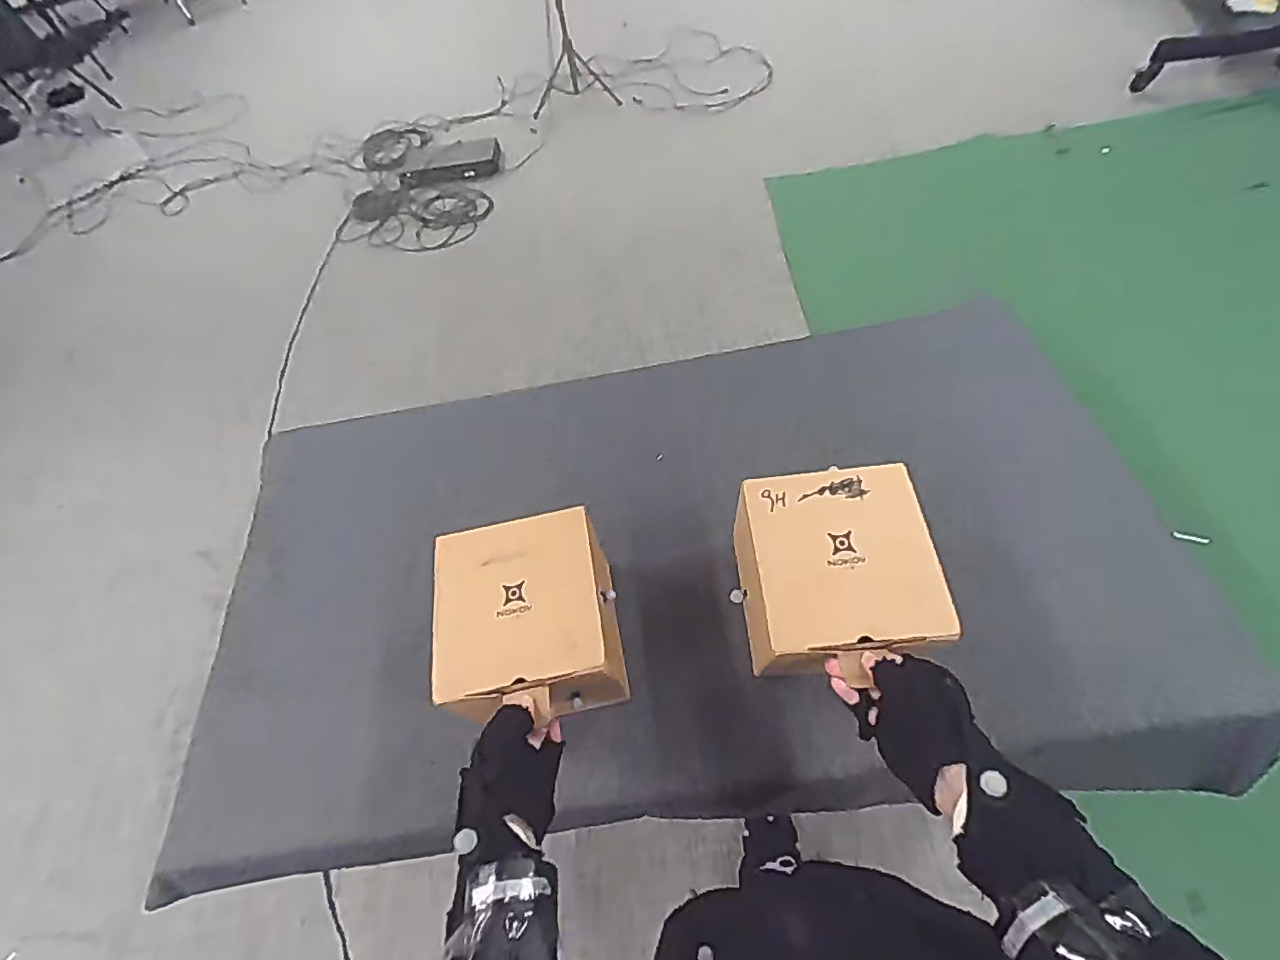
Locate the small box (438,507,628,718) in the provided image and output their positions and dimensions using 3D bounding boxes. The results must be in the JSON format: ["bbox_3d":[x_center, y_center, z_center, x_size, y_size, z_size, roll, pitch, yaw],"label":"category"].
[{"bbox_3d":[-0.113,0.159,0.613,0.168,0.176,0.179,-12,57,-1],"label":"small box"}]

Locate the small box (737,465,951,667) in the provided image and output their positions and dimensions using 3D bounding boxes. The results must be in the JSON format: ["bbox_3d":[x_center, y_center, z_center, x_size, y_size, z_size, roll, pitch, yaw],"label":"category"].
[{"bbox_3d":[0.202,0.104,0.593,0.168,0.176,0.179,-6,63,4],"label":"small box"}]
